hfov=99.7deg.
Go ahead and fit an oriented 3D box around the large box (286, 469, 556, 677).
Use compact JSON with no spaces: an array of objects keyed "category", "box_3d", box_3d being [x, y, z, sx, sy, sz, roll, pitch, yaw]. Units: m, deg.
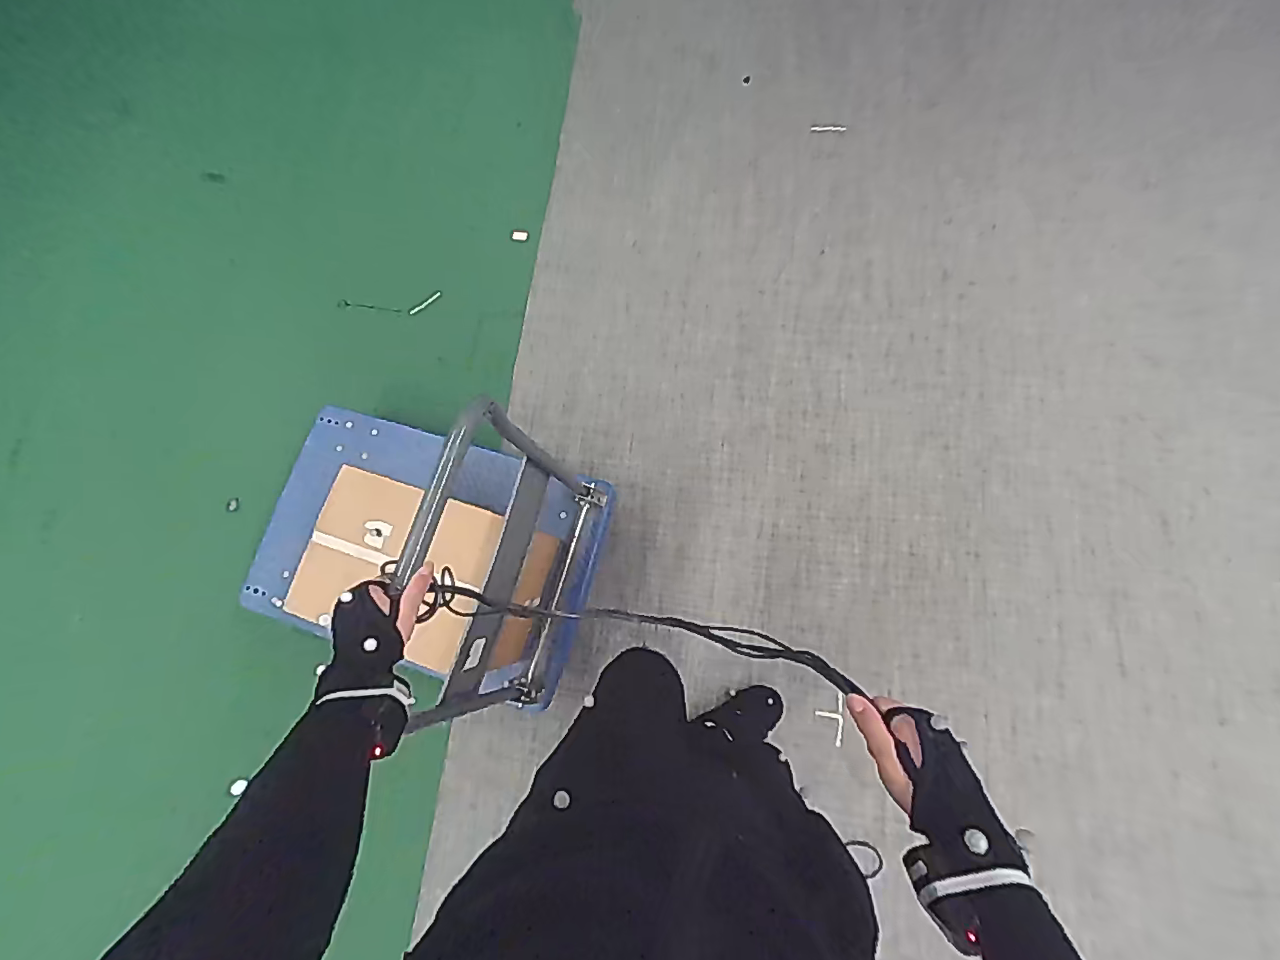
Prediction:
[{"category":"large box","box_3d":[-0.451,0.202,1.201,0.408,0.320,0.320,17,80,11]}]
